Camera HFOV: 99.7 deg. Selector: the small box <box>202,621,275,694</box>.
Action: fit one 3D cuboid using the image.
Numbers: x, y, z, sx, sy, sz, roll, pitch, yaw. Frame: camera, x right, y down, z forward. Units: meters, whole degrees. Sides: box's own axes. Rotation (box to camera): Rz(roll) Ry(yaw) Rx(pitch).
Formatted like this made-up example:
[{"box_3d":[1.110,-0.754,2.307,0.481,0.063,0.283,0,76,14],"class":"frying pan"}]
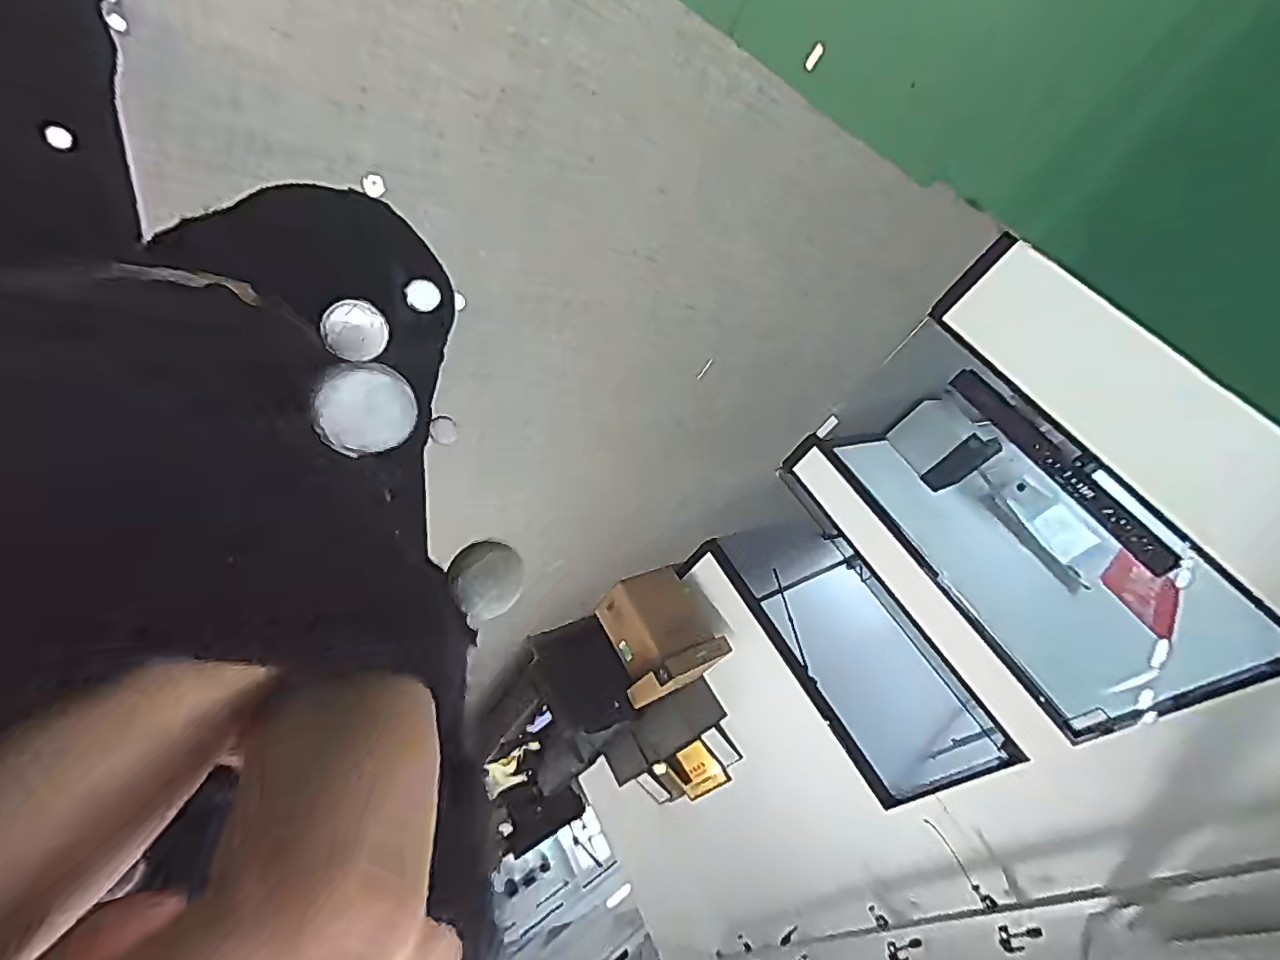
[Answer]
[{"box_3d":[-1.395,0.604,1.872,0.168,0.176,0.179,-4,143,-48],"class":"small box"}]
